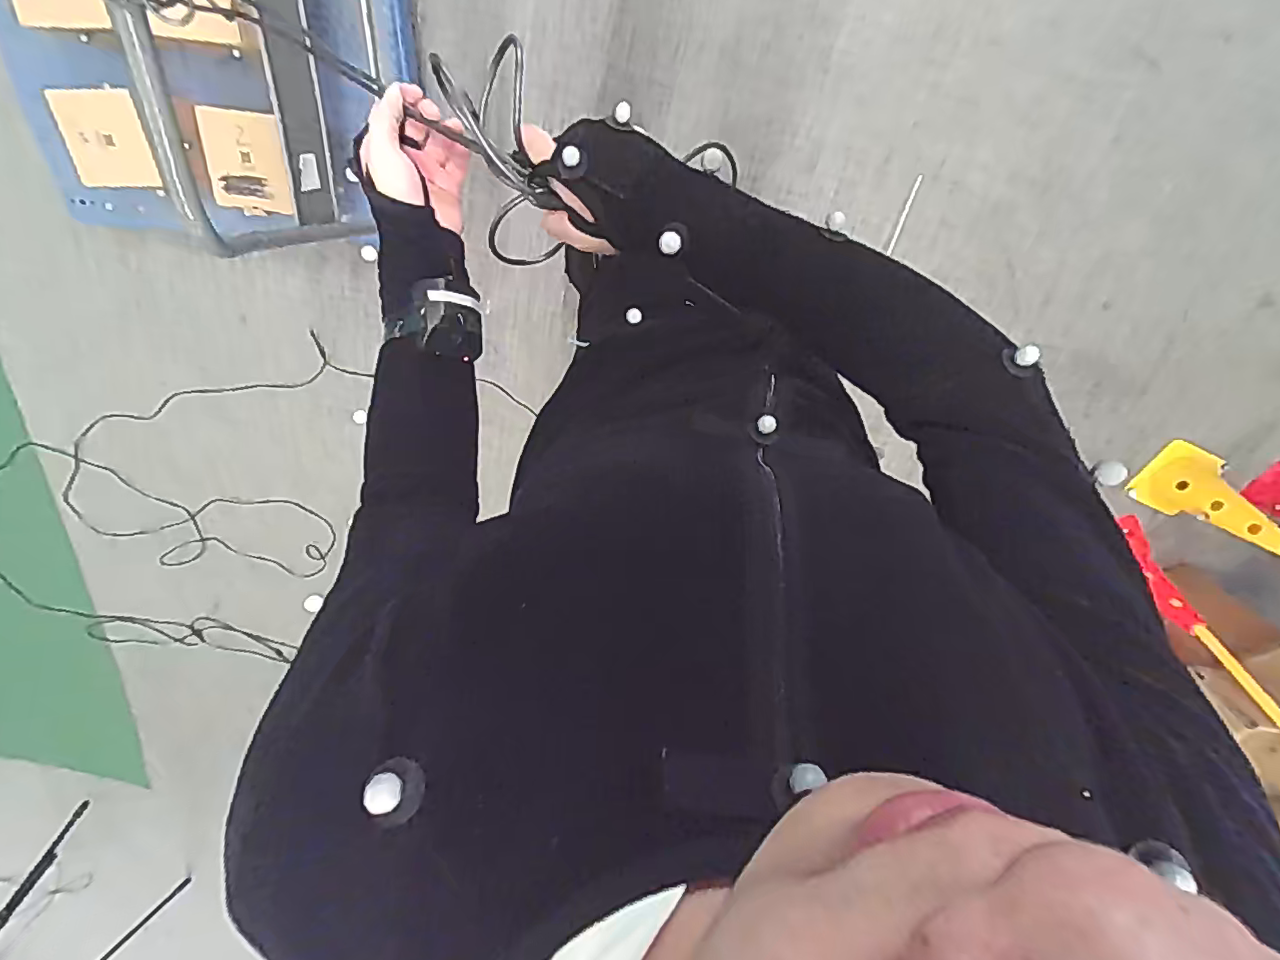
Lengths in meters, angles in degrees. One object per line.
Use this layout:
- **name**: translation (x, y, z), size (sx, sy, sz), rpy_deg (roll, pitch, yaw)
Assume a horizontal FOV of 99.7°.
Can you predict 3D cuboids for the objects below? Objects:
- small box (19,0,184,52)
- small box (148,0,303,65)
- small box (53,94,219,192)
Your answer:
- **small box**: translation (-1.030, -0.932, 1.024), size (0.179, 0.176, 0.168), rpy_deg (3, 119, 2)
- **small box**: translation (-0.784, -0.907, 1.022), size (0.179, 0.176, 0.168), rpy_deg (7, 119, 2)
- **small box**: translation (-1.046, -0.708, 1.147), size (0.179, 0.176, 0.168), rpy_deg (2, 118, 3)
